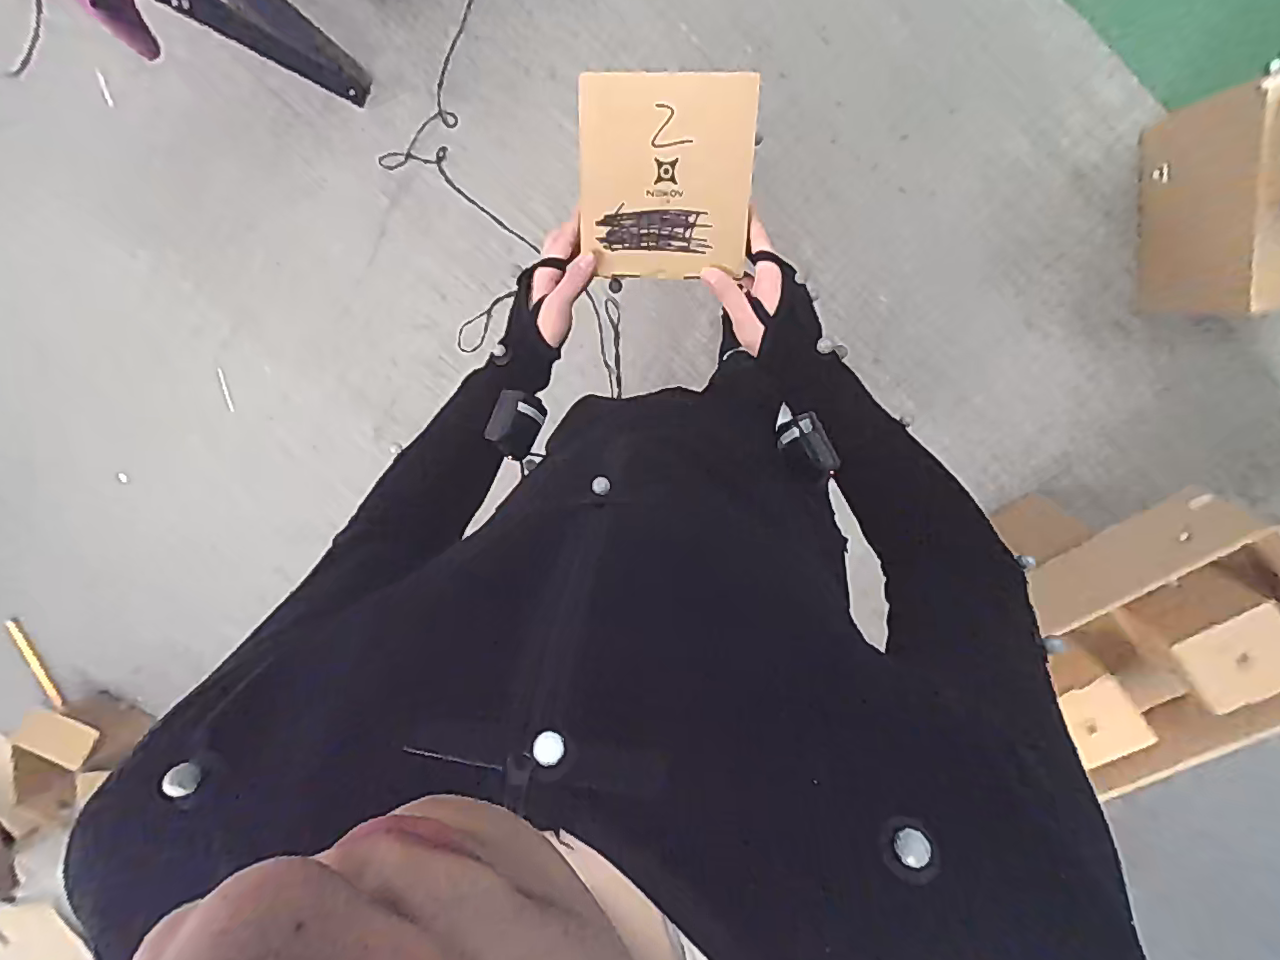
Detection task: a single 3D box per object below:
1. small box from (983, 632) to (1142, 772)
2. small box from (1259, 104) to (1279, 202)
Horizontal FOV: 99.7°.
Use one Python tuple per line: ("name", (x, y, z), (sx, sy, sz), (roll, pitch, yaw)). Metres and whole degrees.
("small box", (0.868, 0.457, 1.129), (0.168, 0.176, 0.179), (-37, 97, 19))
("small box", (1.166, -0.559, 0.854), (0.179, 0.176, 0.168), (-10, 106, 14))
